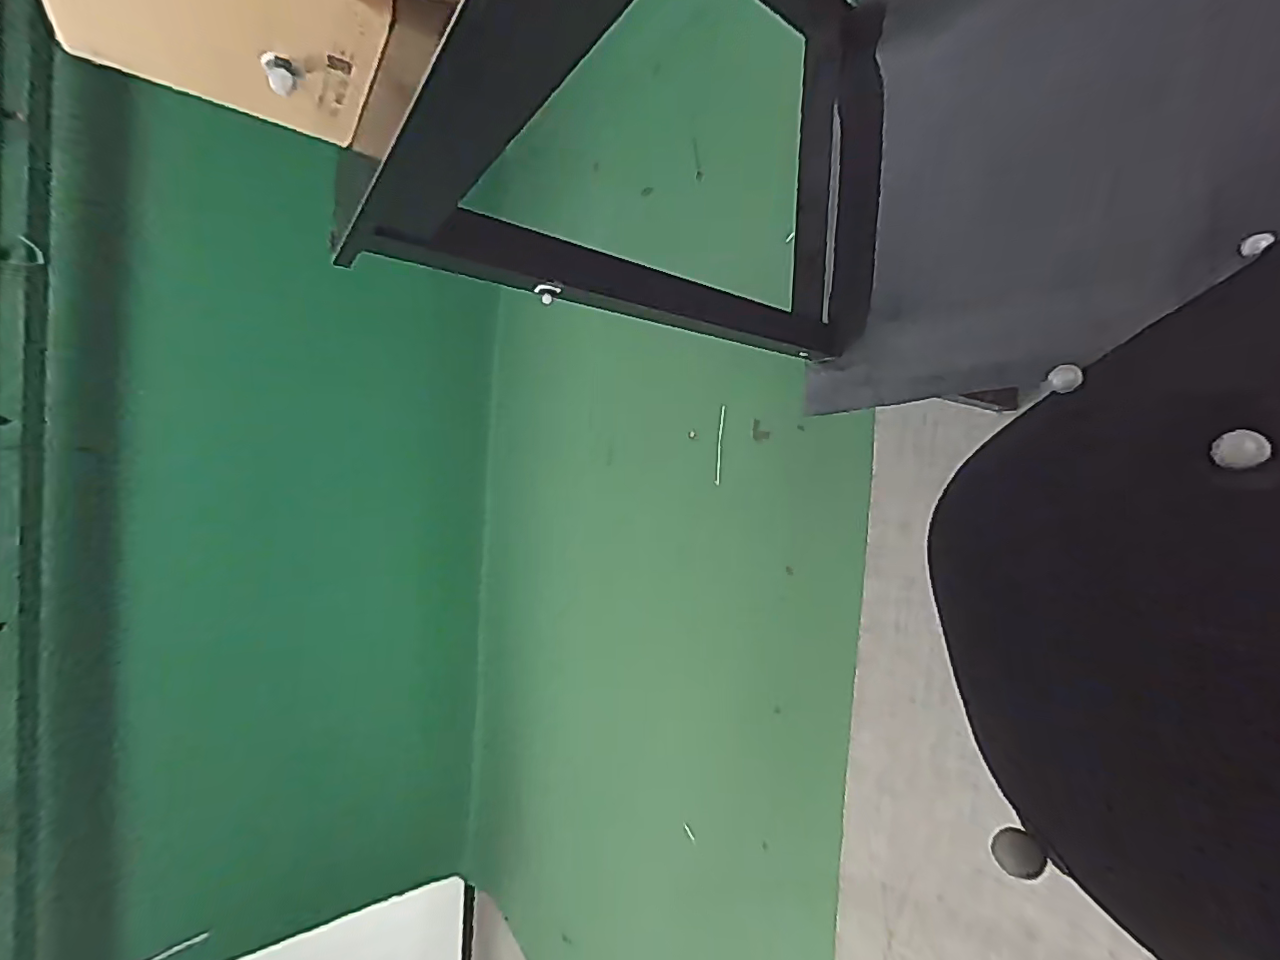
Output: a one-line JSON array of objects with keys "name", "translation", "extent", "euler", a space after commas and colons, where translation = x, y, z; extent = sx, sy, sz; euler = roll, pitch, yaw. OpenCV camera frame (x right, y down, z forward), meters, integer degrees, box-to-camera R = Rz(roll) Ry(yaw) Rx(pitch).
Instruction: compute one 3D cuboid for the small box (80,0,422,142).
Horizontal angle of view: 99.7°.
[{"name": "small box", "translation": [-0.242, -0.363, 0.342], "extent": [0.168, 0.176, 0.179], "euler": [3, 92, 54]}]
